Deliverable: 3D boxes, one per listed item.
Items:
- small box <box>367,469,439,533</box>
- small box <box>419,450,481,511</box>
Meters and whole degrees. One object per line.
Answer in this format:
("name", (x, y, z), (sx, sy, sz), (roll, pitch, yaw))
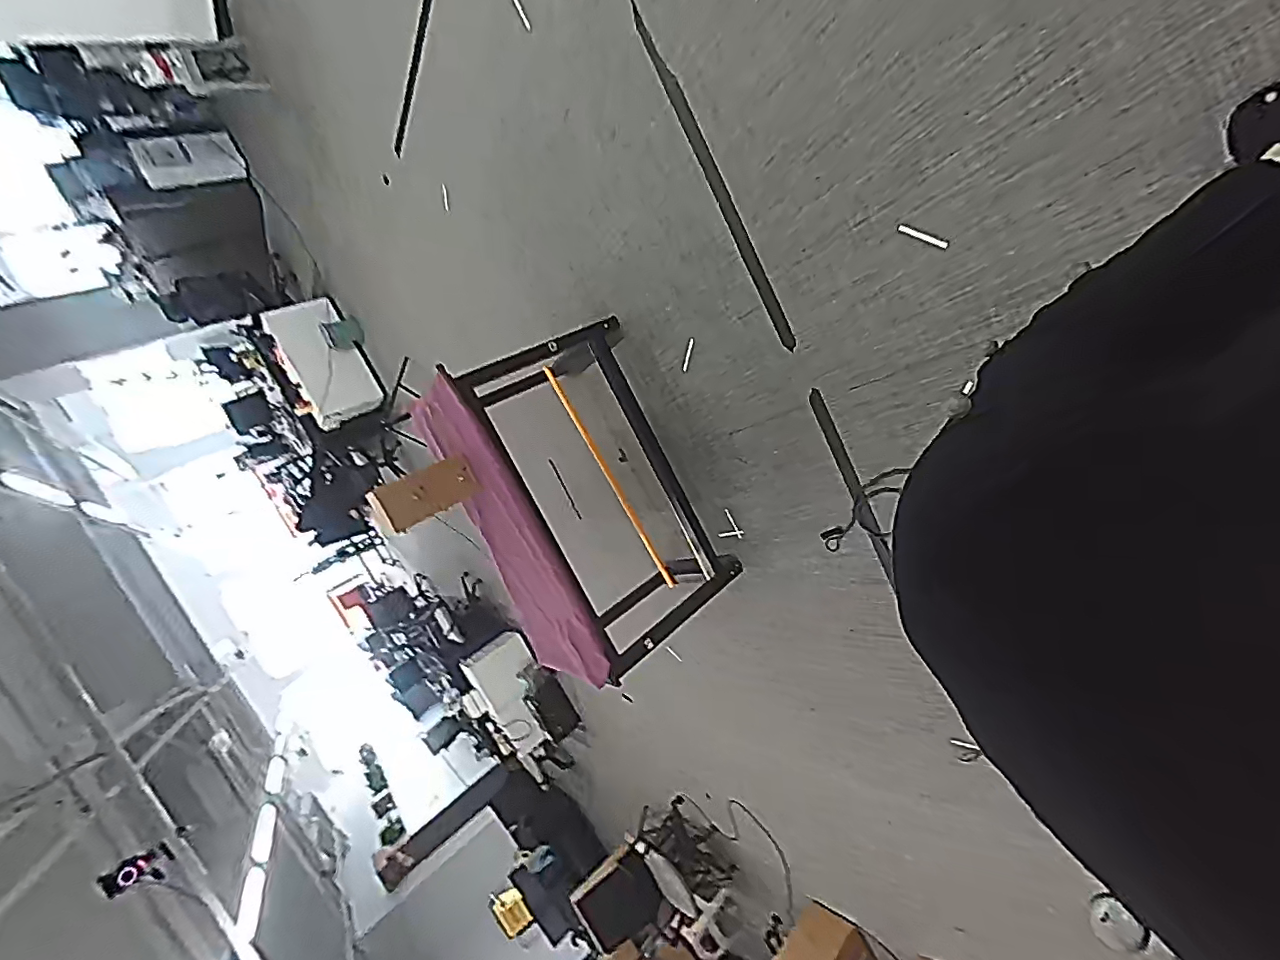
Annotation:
("small box", (-0.835, 0.075, 1.912), (0.179, 0.176, 0.168), (-12, 108, 56))
("small box", (-0.715, 0.005, 2.001), (0.179, 0.176, 0.168), (-11, 107, 56))
